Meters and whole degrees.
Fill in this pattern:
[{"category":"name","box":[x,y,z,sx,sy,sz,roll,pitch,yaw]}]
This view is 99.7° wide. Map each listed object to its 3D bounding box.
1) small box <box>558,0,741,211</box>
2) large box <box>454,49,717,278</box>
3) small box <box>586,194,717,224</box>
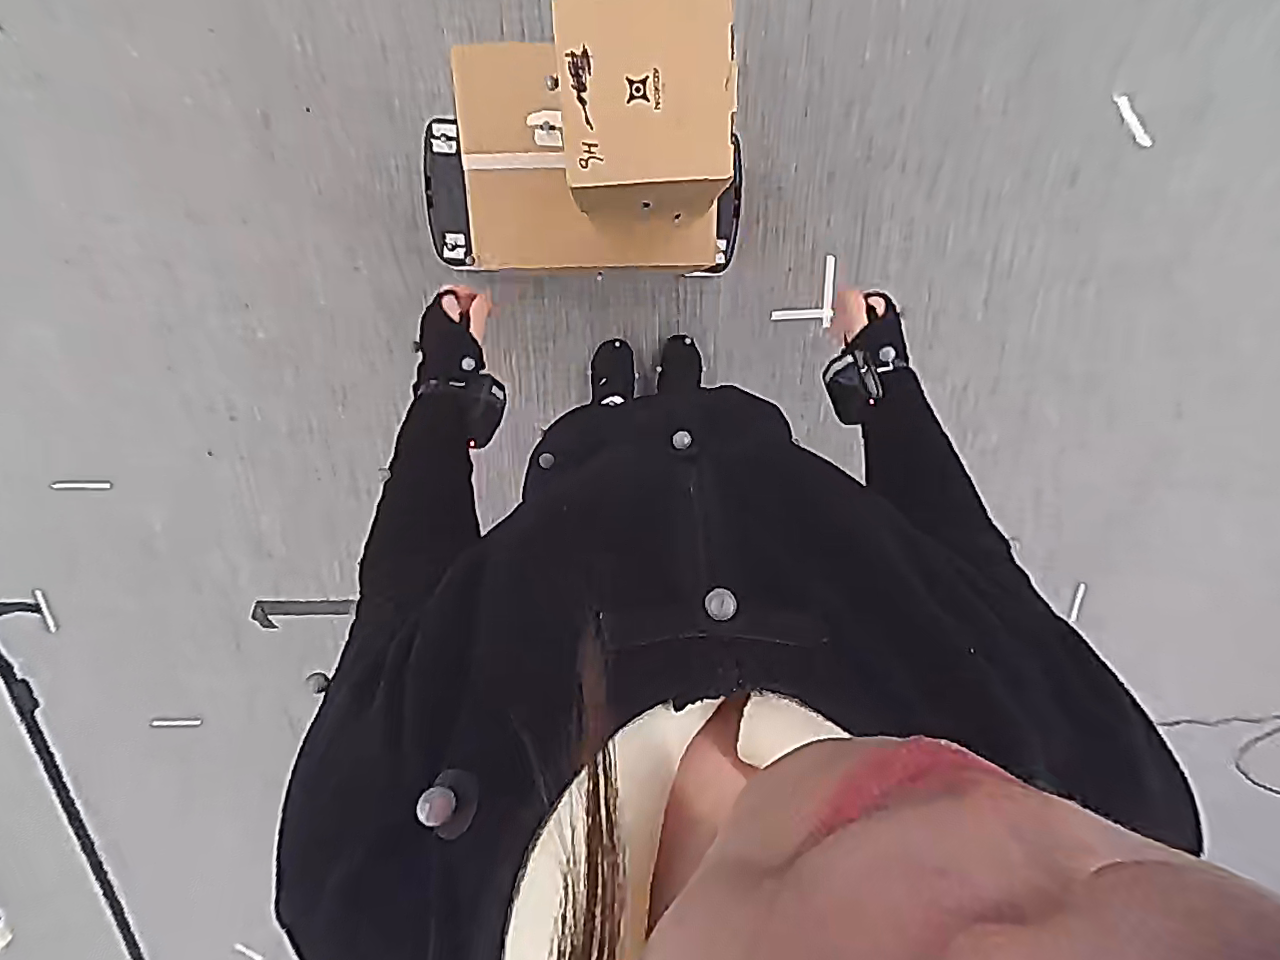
[{"category":"small box","box":[0.007,-0.408,0.605,0.179,0.176,0.168,-3,107,-2]},{"category":"large box","box":[-0.076,-0.543,0.989,0.408,0.320,0.320,-1,107,0]},{"category":"small box","box":[0.009,-0.462,0.760,0.179,0.176,0.168,-2,108,0]}]
